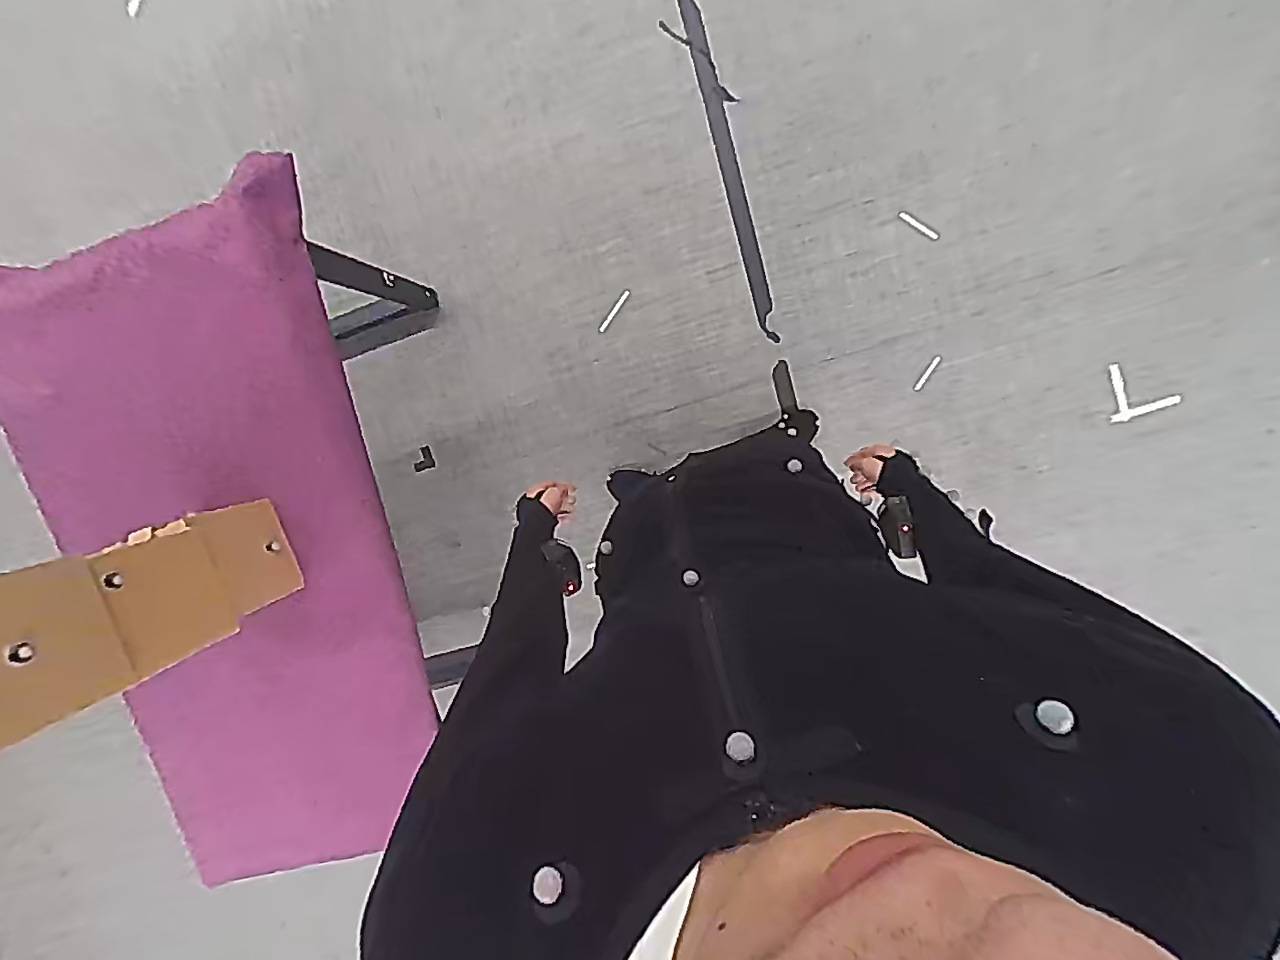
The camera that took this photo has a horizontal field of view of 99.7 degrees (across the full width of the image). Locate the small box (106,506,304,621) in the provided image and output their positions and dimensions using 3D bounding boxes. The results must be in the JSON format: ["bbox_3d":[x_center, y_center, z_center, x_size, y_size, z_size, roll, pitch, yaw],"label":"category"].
[{"bbox_3d":[-0.725,0.153,0.921,0.168,0.176,0.179,-19,96,10],"label":"small box"}]

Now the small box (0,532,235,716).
[{"bbox_3d":[-0.728,0.193,0.762,0.168,0.176,0.179,-18,96,9],"label":"small box"}]
